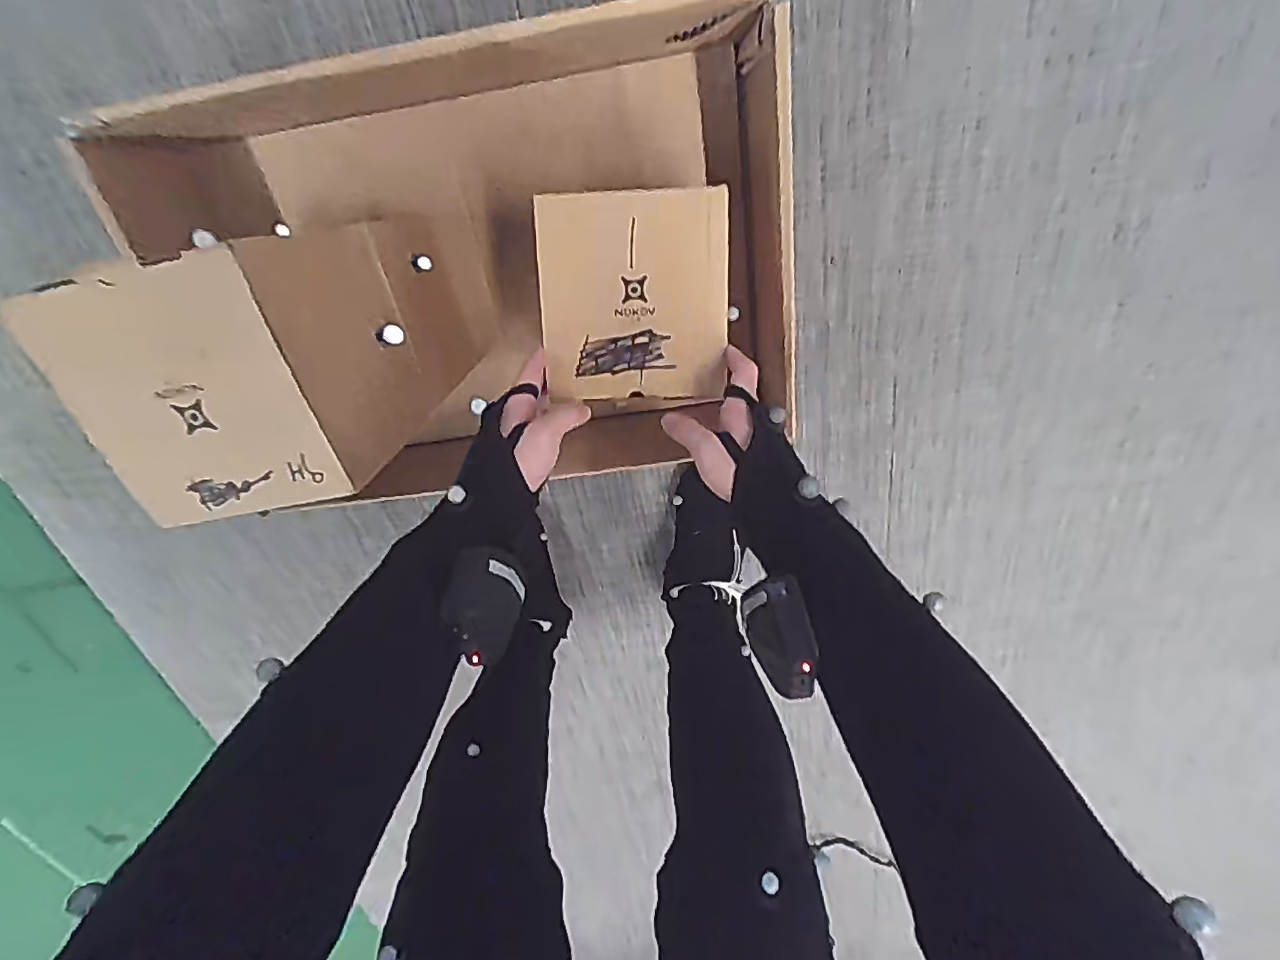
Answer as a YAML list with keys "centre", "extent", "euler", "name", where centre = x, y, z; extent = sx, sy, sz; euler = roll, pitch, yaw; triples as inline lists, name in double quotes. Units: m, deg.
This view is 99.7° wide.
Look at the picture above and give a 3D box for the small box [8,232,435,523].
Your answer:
- centre: [-0.293, -0.092, 0.432]
  extent: [0.168, 0.176, 0.179]
  euler: [-9, 117, 6]
  name: "small box"
